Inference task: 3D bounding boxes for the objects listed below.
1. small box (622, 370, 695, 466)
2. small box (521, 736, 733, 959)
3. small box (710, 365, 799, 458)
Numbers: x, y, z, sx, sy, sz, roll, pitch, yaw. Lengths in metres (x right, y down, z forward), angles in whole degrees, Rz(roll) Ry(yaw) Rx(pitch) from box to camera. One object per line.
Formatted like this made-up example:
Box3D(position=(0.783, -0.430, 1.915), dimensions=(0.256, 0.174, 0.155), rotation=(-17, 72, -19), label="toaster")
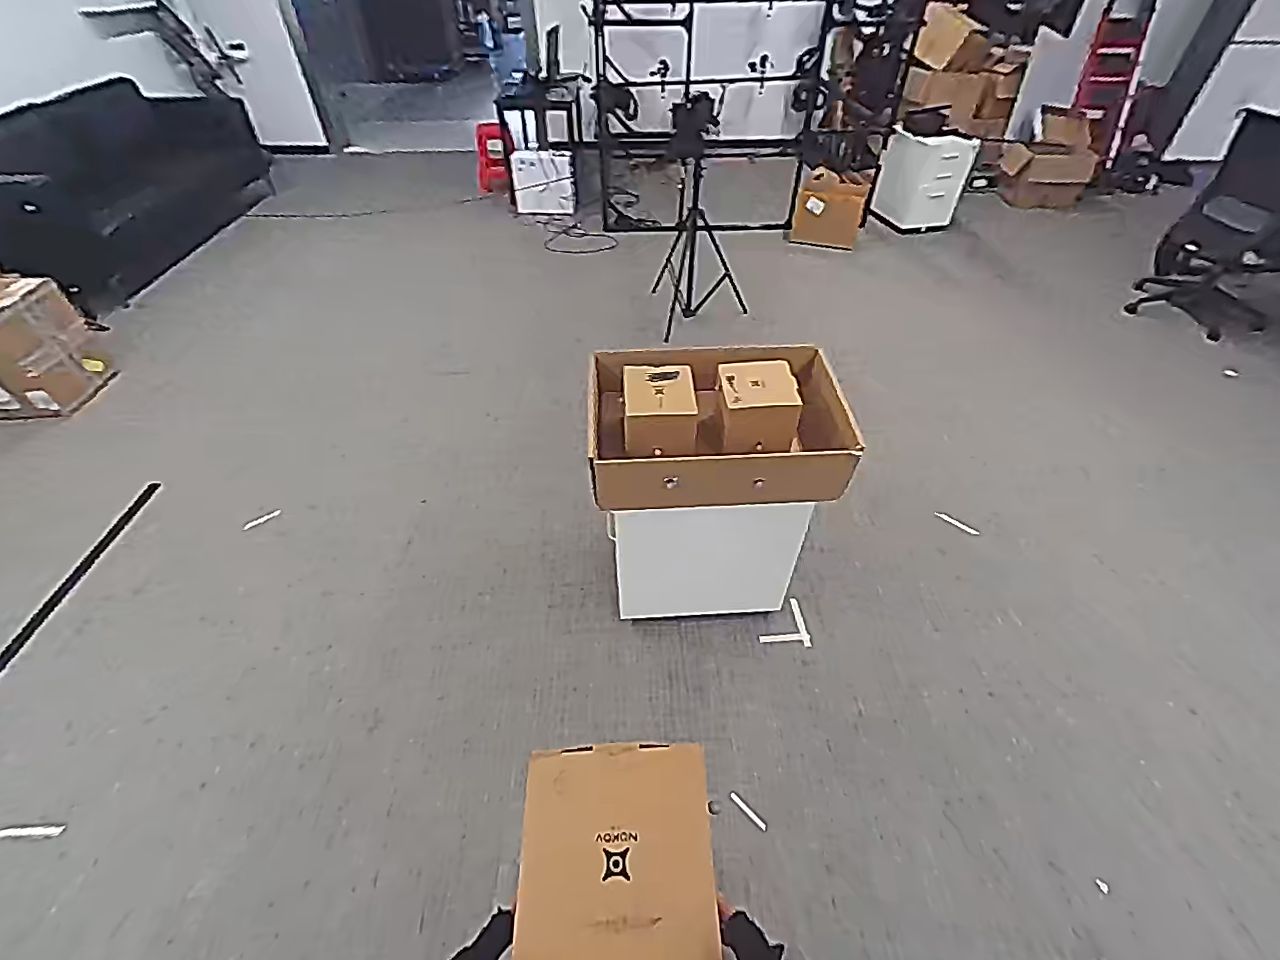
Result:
Box3D(position=(0.039, -0.153, 1.343), dimensions=(0.168, 0.176, 0.179), rotation=(-2, 50, -3), label="small box")
Box3D(position=(-0.009, 0.363, 0.519), dimensions=(0.168, 0.176, 0.179), rotation=(-4, 52, 1), label="small box")
Box3D(position=(0.280, -0.170, 1.360), dimensions=(0.179, 0.176, 0.168), rotation=(-3, 49, -1), label="small box")
